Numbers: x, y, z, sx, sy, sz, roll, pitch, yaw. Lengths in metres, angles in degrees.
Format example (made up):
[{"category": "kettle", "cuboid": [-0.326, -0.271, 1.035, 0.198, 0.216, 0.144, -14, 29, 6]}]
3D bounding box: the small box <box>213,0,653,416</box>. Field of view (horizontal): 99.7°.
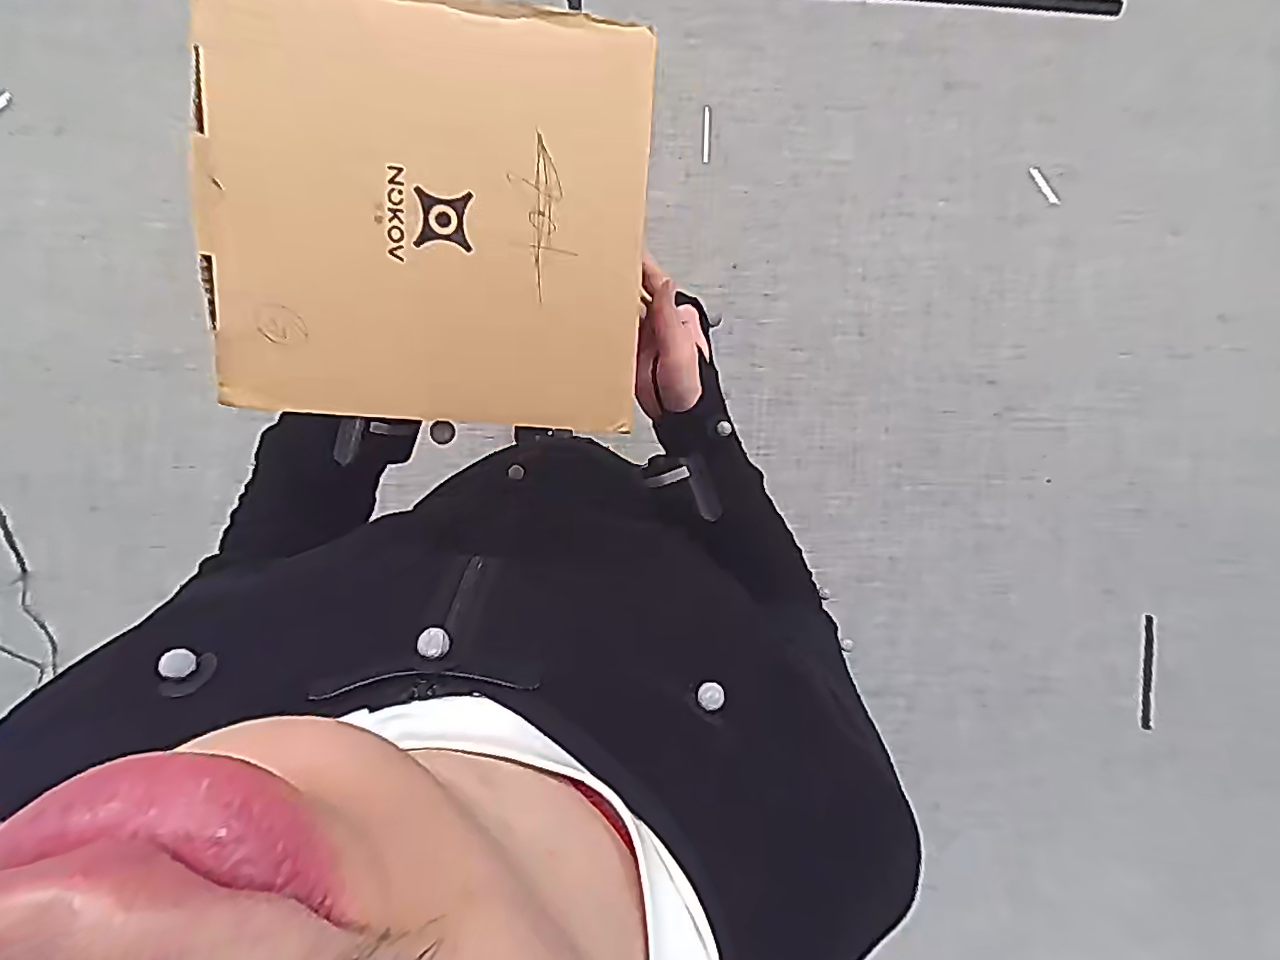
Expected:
[{"category": "small box", "cuboid": [-0.097, -0.129, 0.311, 0.179, 0.176, 0.168, 3, 101, -9]}]
